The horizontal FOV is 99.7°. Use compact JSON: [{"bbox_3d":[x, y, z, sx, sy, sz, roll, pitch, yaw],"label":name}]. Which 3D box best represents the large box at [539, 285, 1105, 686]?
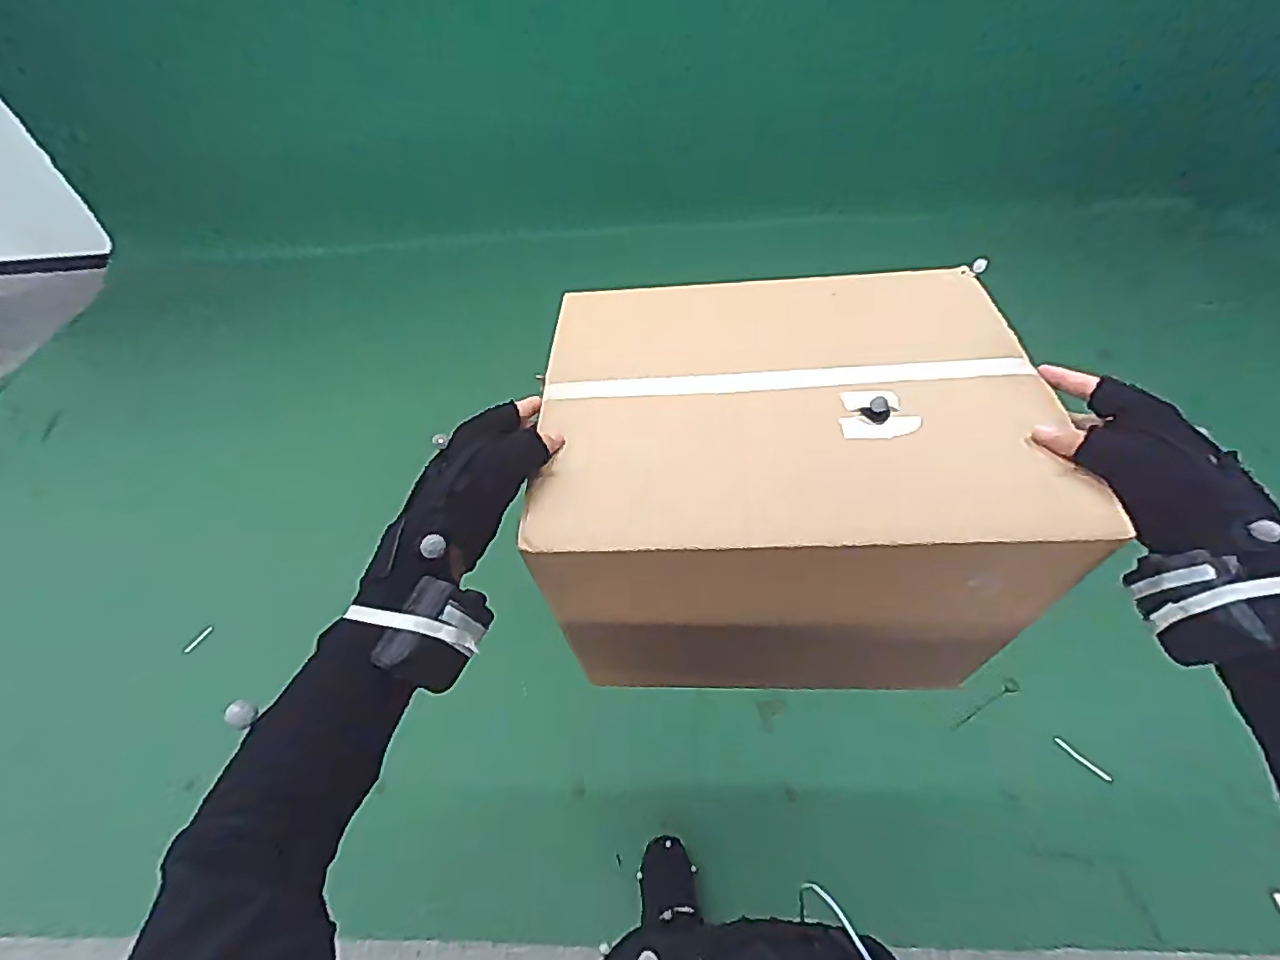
[{"bbox_3d":[0.133,0.018,0.587,0.408,0.320,0.320,-2,52,4],"label":"large box"}]
